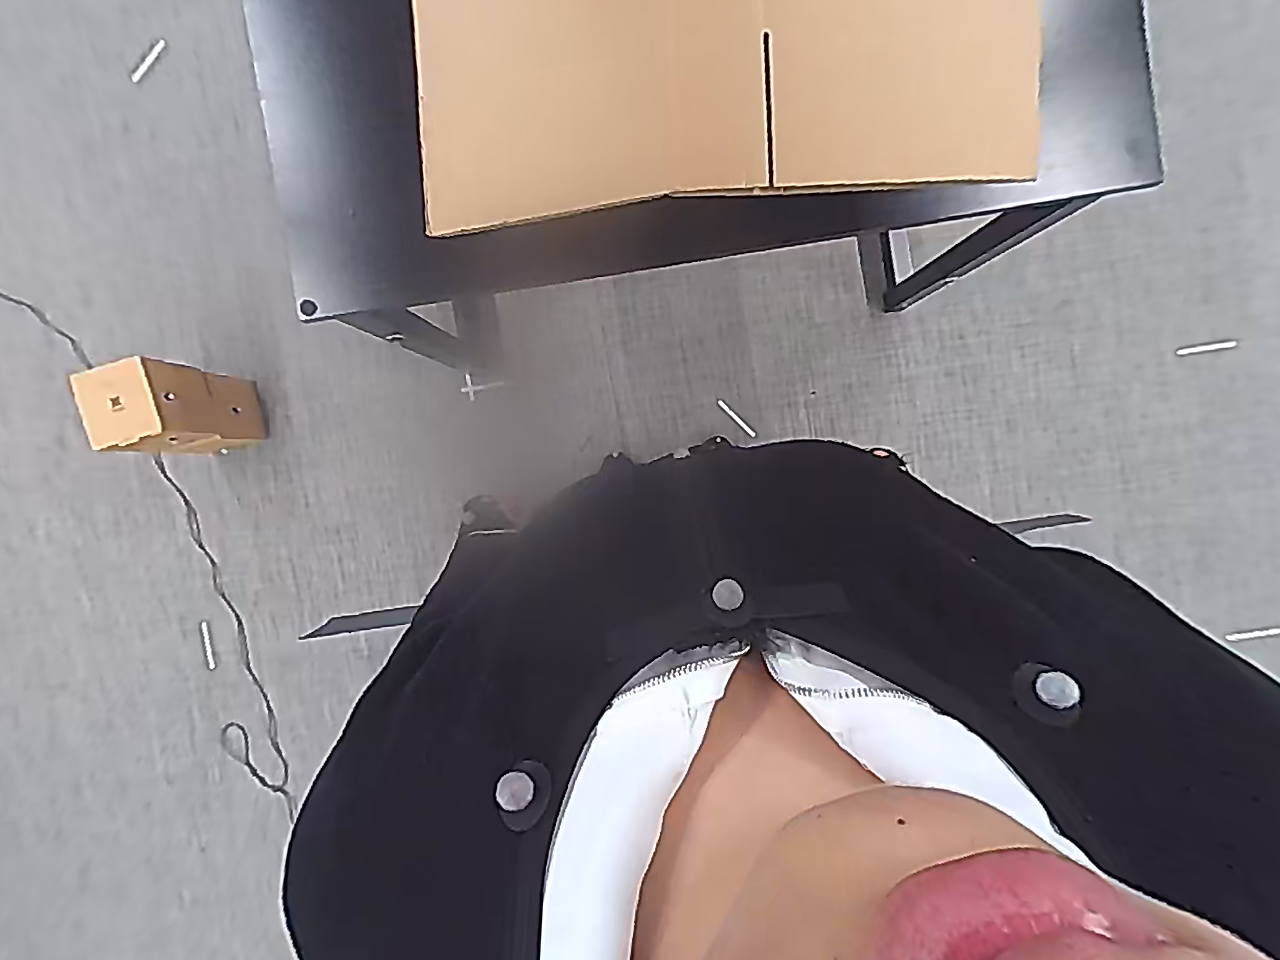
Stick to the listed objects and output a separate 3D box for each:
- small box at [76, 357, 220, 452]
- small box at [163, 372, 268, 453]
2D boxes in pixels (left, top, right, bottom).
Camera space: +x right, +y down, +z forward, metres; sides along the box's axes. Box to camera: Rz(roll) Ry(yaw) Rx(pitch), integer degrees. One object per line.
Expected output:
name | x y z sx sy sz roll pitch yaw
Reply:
small box | -1.138 -0.170 1.267 0.168 0.176 0.179 -16 91 1
small box | -1.133 -0.171 1.430 0.168 0.176 0.179 -12 93 2
